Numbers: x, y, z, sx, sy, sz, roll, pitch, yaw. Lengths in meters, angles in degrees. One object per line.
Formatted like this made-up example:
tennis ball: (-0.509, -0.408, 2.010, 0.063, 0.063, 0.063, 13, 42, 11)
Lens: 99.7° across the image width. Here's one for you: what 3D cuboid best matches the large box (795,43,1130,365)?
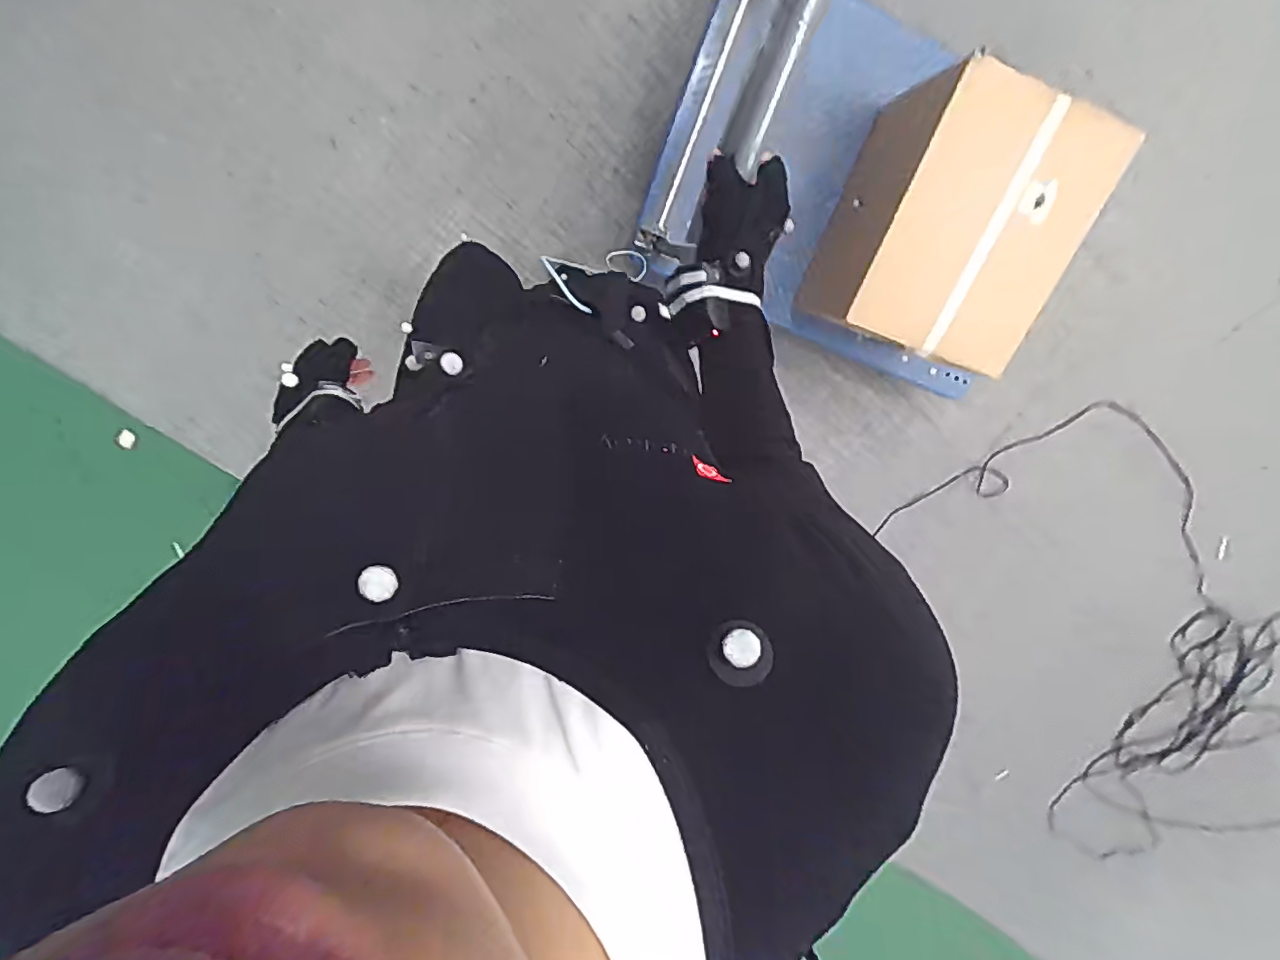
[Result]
large box: (0.548, -0.474, 1.016, 0.320, 0.320, 0.408, 18, 110, -10)
